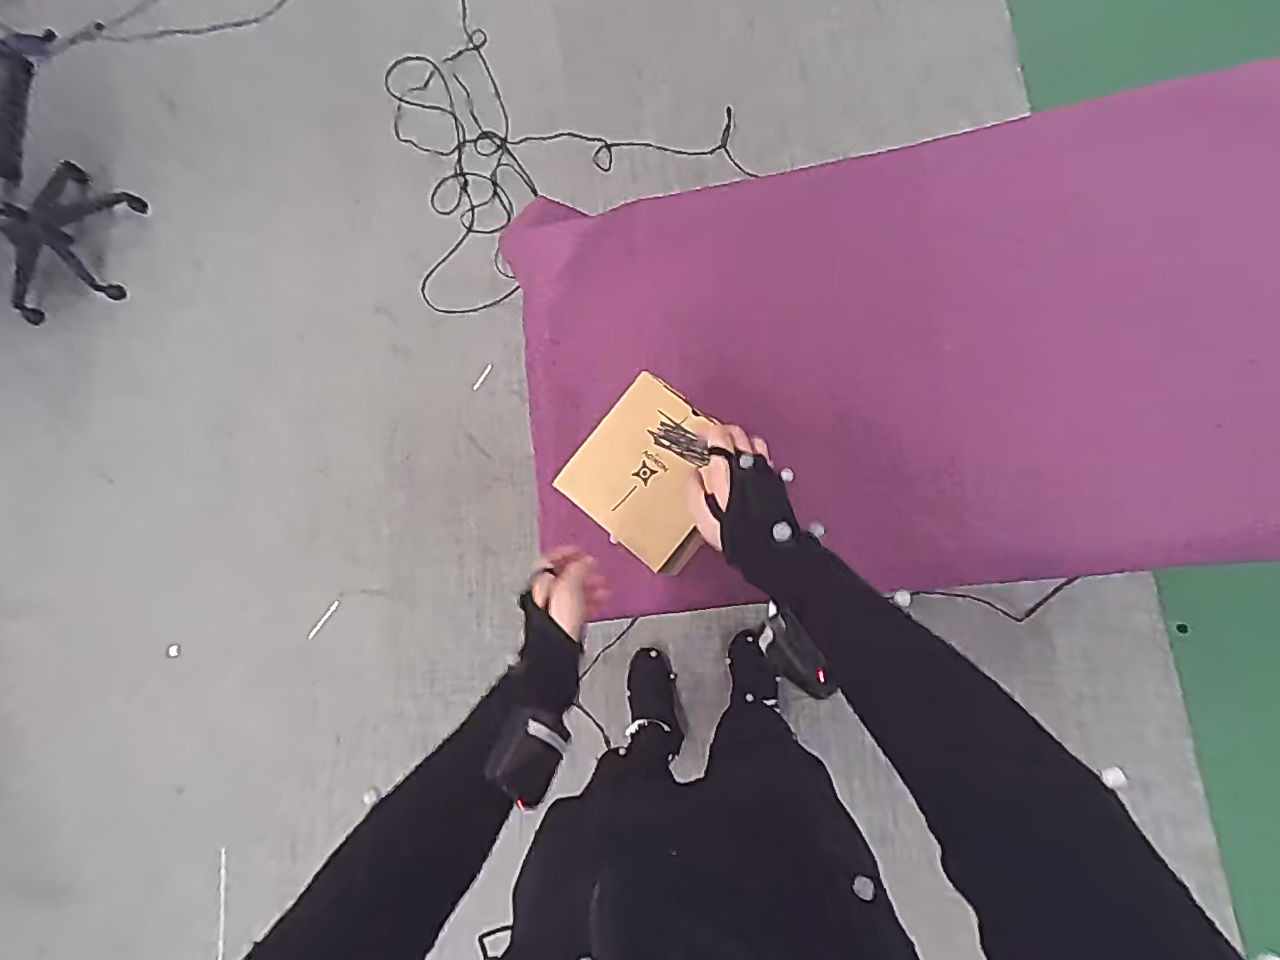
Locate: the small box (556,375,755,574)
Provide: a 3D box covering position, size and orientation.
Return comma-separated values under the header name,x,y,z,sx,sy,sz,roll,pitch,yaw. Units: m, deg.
name,x,y,z,sx,sy,sz,roll,pitch,yaw
small box,0.028,0.003,0.695,0.168,0.176,0.179,39,89,16
